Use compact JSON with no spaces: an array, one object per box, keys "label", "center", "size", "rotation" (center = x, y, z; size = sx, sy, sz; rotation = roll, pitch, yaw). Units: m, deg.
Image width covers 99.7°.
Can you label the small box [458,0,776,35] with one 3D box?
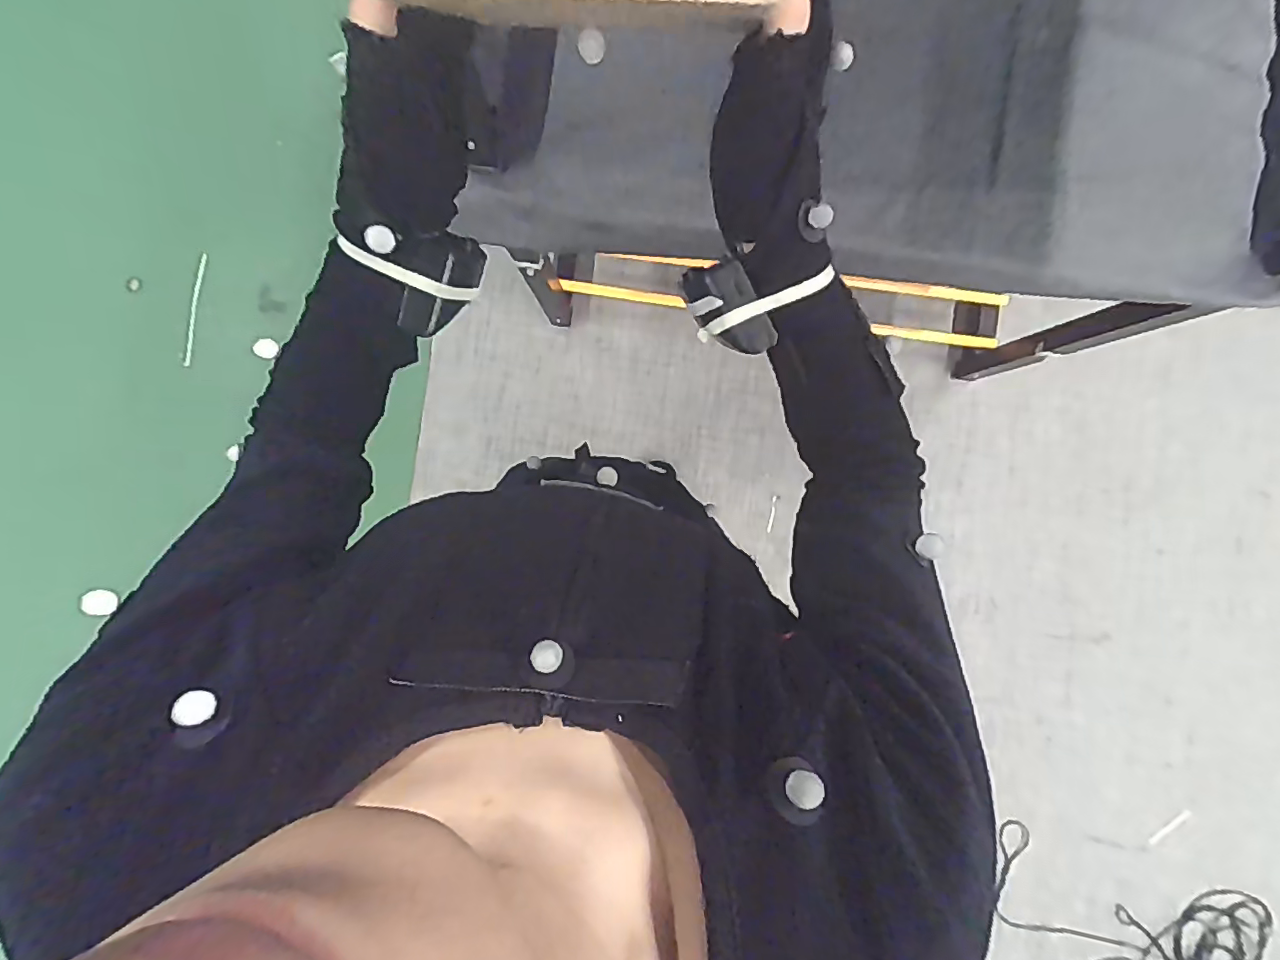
[{"label":"small box","center":[-0.018,-0.304,0.221],"size":[0.168,0.176,0.179],"rotation":[5,128,2]}]
